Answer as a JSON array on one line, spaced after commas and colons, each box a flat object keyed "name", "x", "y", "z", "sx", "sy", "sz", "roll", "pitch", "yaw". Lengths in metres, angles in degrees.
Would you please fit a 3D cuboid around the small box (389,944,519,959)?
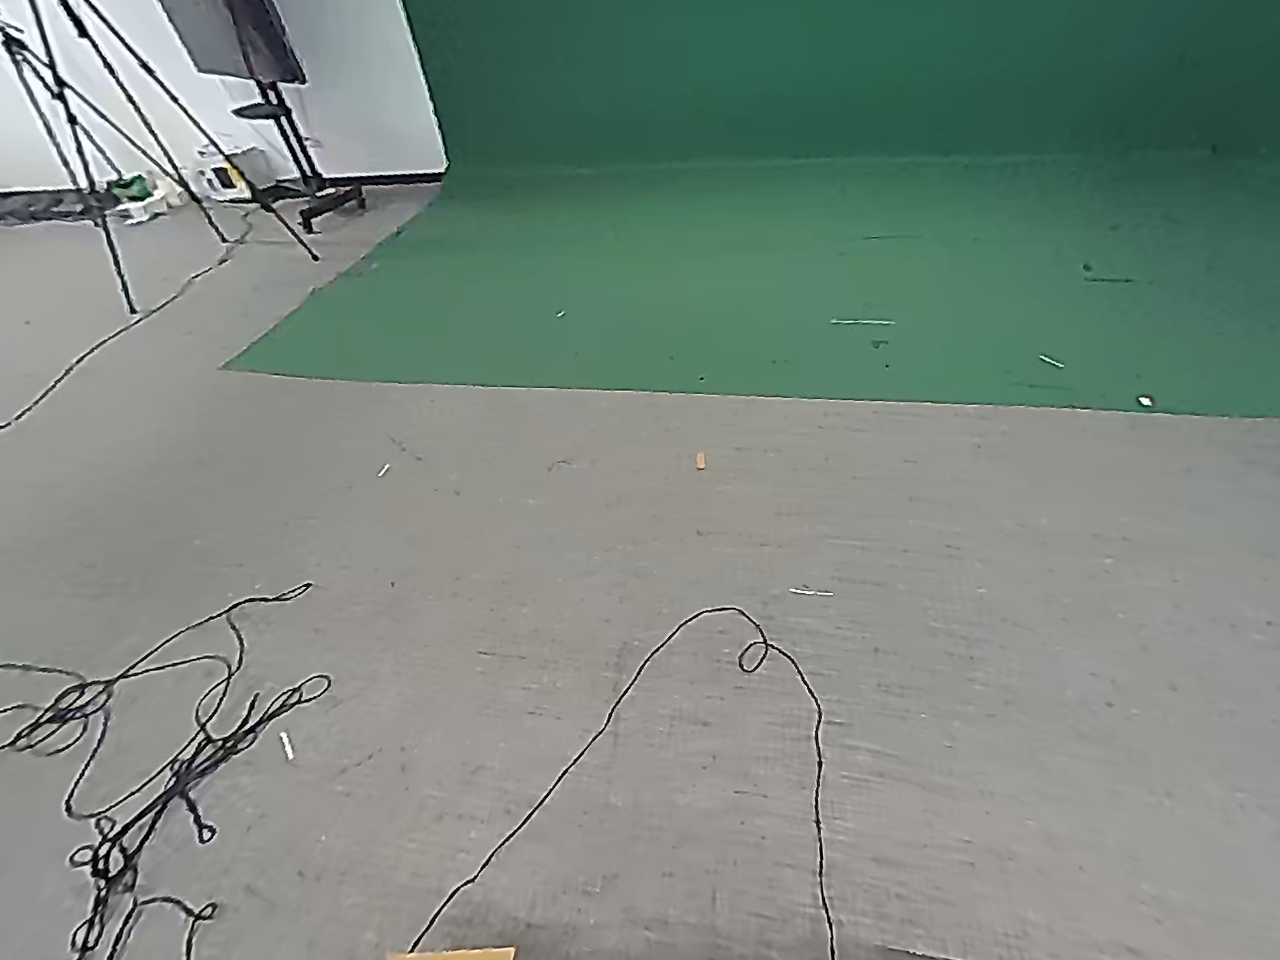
[{"name": "small box", "x": -0.238, "y": 0.689, "z": 0.620, "sx": 0.168, "sy": 0.179, "sz": 0.176, "roll": -1, "pitch": 88, "yaw": -1}]
